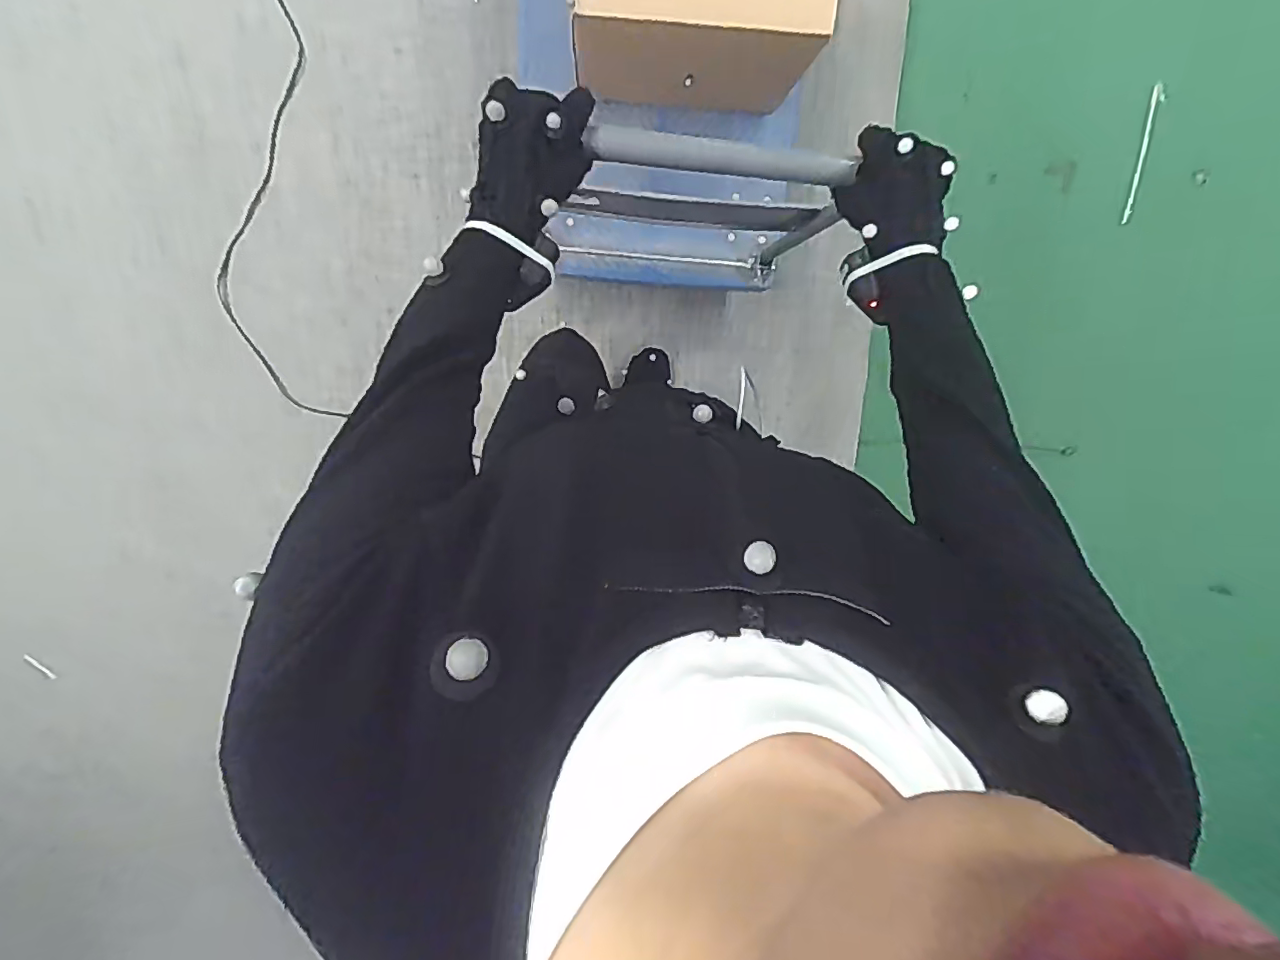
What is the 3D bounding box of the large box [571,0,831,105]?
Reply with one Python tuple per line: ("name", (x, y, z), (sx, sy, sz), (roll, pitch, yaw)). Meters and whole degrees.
("large box", (0.091, -0.883, 0.930), (0.408, 0.320, 0.320), (1, 104, -4))
